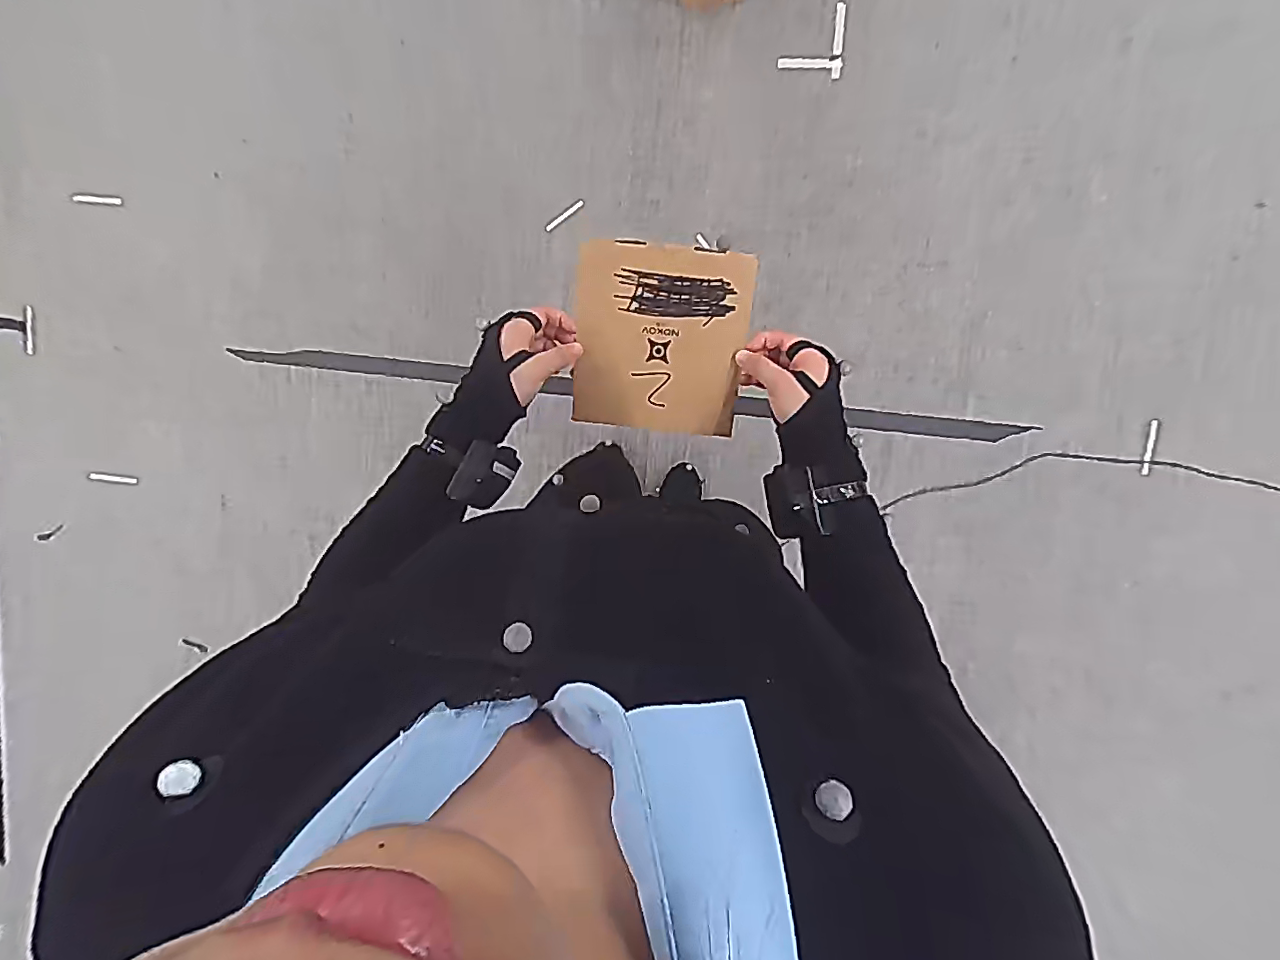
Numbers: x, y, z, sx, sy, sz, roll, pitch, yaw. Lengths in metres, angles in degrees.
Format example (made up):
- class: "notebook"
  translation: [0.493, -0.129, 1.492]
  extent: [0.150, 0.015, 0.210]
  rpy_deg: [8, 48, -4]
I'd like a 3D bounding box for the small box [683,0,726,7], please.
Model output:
- class: "small box"
  translation: [0.168, -1.271, 1.262]
  extent: [0.168, 0.176, 0.179]
  rpy_deg: [-6, 95, 6]
